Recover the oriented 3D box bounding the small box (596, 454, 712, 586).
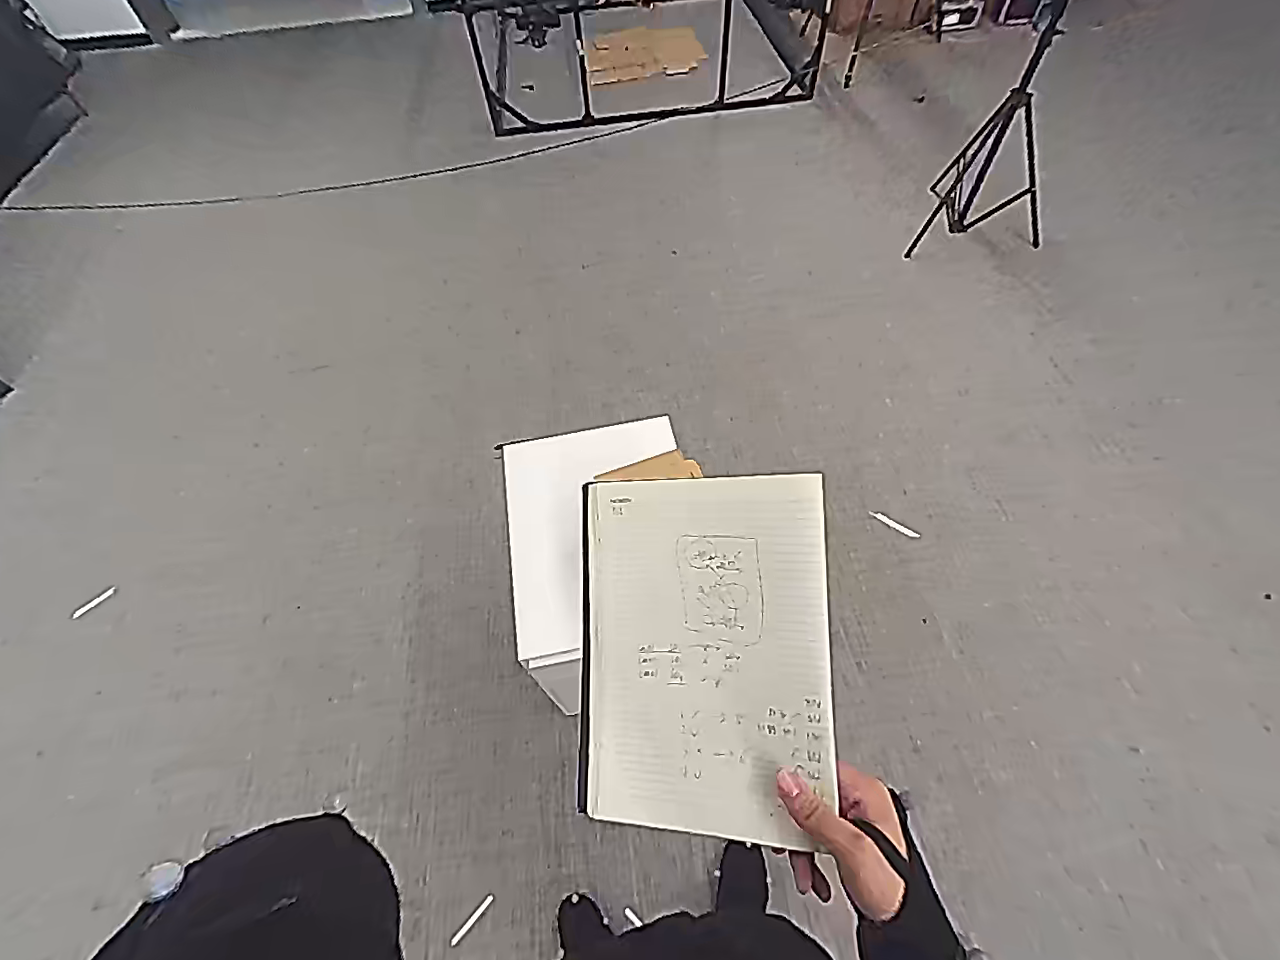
[{"bbox_3d":[0.025,0.081,1.052,0.179,0.176,0.168,-18,57,-8],"label":"small box"}]
